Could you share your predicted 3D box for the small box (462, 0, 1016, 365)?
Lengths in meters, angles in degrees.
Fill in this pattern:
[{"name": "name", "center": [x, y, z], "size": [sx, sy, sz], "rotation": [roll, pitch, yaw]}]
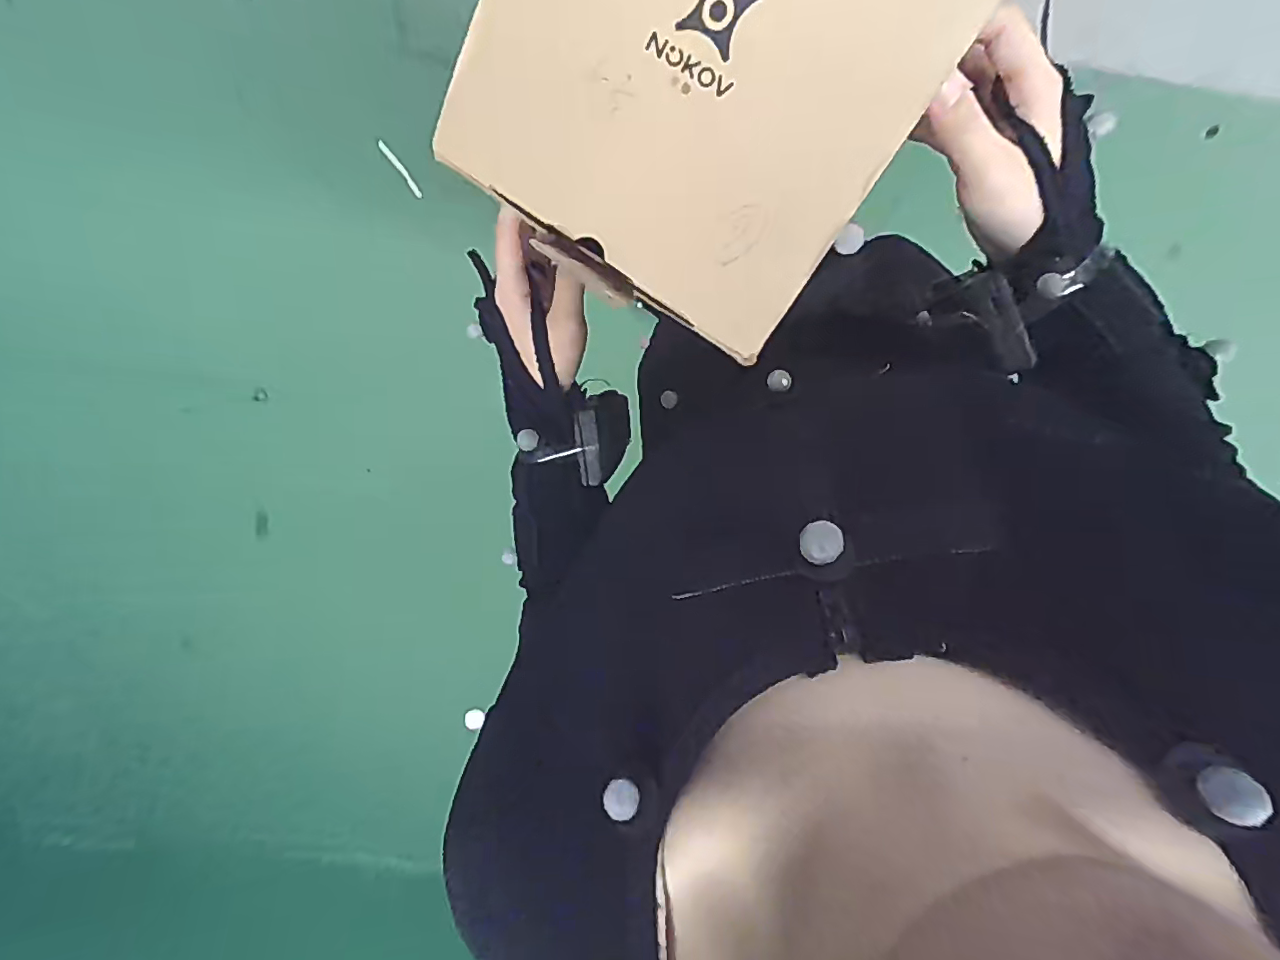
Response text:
[{"name": "small box", "center": [0.046, -0.185, 0.286], "size": [0.168, 0.176, 0.179], "rotation": [35, 112, 0]}]
